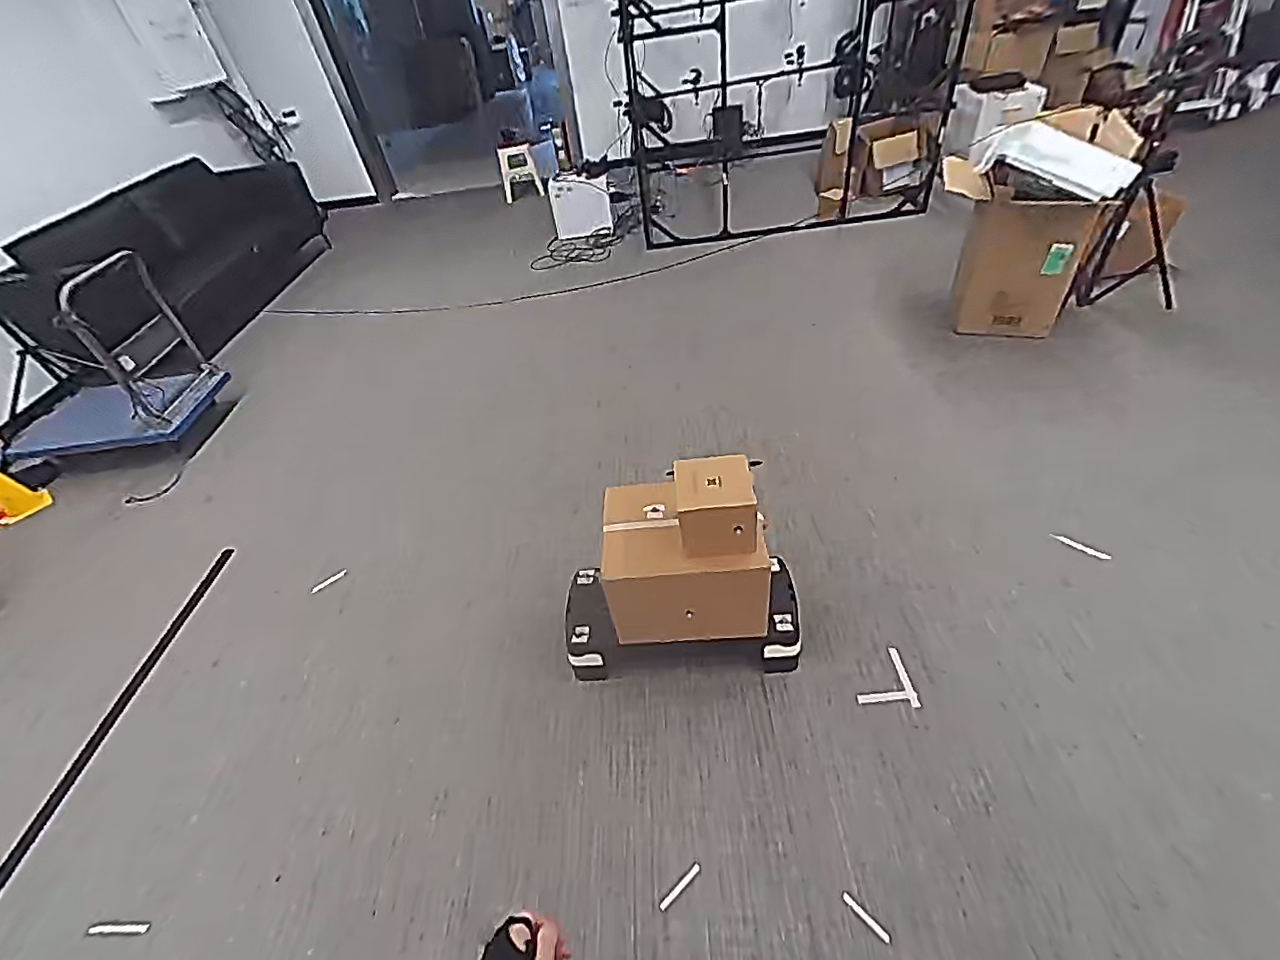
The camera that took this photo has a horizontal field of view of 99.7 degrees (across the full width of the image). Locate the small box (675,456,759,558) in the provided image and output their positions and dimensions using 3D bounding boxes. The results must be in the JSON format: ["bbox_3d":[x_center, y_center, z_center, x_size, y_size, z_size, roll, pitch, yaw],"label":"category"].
[{"bbox_3d":[0.178,0.065,1.265,0.179,0.176,0.168,-6,44,6],"label":"small box"}]

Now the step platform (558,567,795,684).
[{"bbox_3d":[0.105,0.421,1.613,0.684,0.204,0.286,-2,43,10],"label":"step platform"}]

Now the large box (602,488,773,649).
[{"bbox_3d":[0.127,0.232,1.459,0.408,0.320,0.320,-7,42,6],"label":"large box"}]
